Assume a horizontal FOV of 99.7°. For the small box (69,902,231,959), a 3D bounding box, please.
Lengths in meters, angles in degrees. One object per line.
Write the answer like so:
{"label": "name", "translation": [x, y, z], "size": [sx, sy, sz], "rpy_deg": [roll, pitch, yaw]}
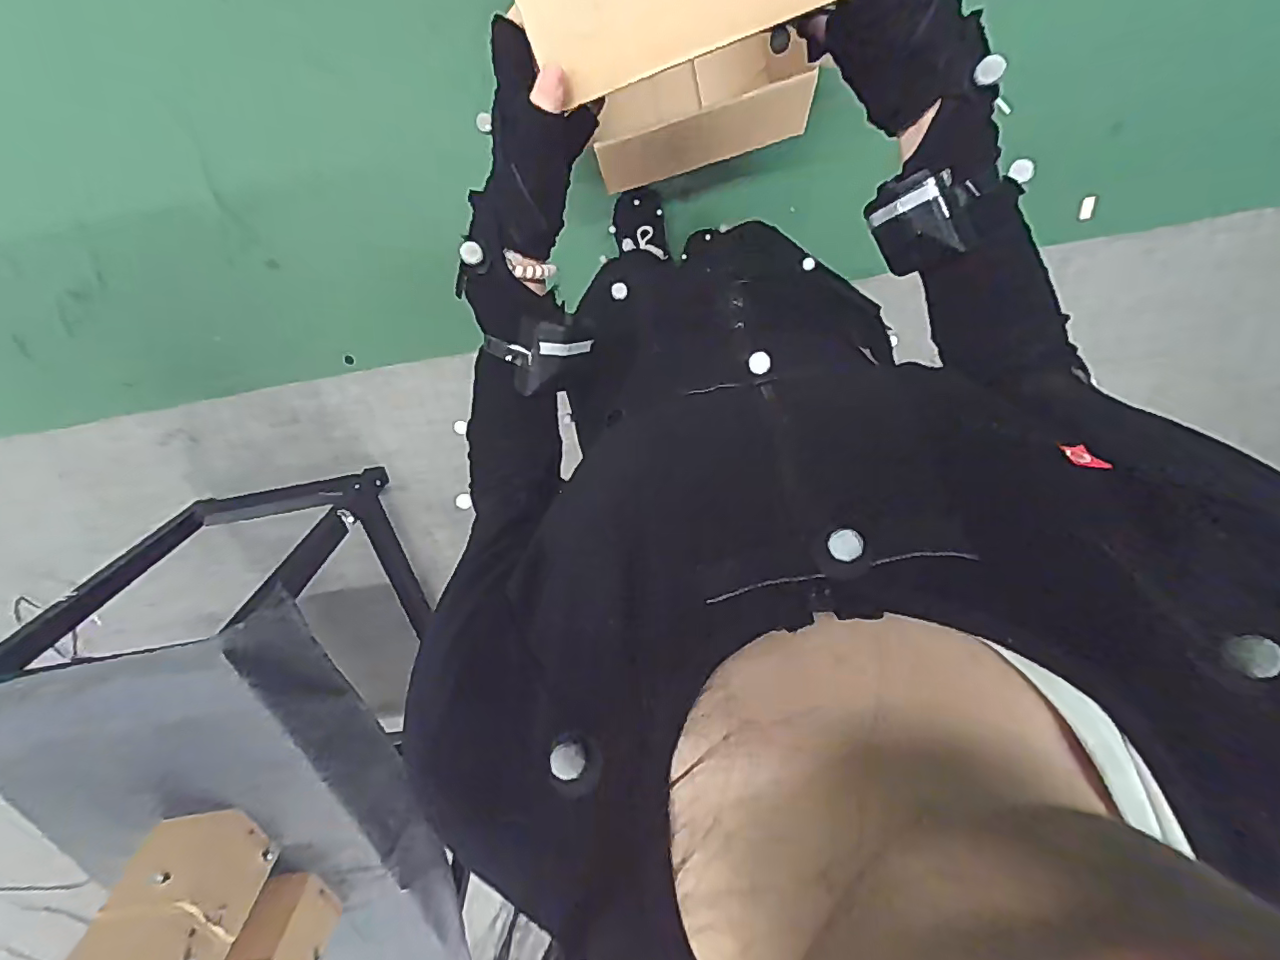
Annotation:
{"label": "small box", "translation": [-0.878, 0.875, 0.939], "size": [0.179, 0.176, 0.168], "rpy_deg": [-12, 119, 4]}

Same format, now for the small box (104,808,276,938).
{"label": "small box", "translation": [-0.871, 0.783, 1.076], "size": [0.179, 0.176, 0.168], "rpy_deg": [-10, 118, 4]}

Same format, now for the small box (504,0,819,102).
{"label": "small box", "translation": [0.004, -0.344, 0.308], "size": [0.179, 0.176, 0.168], "rpy_deg": [-13, 128, 13]}
